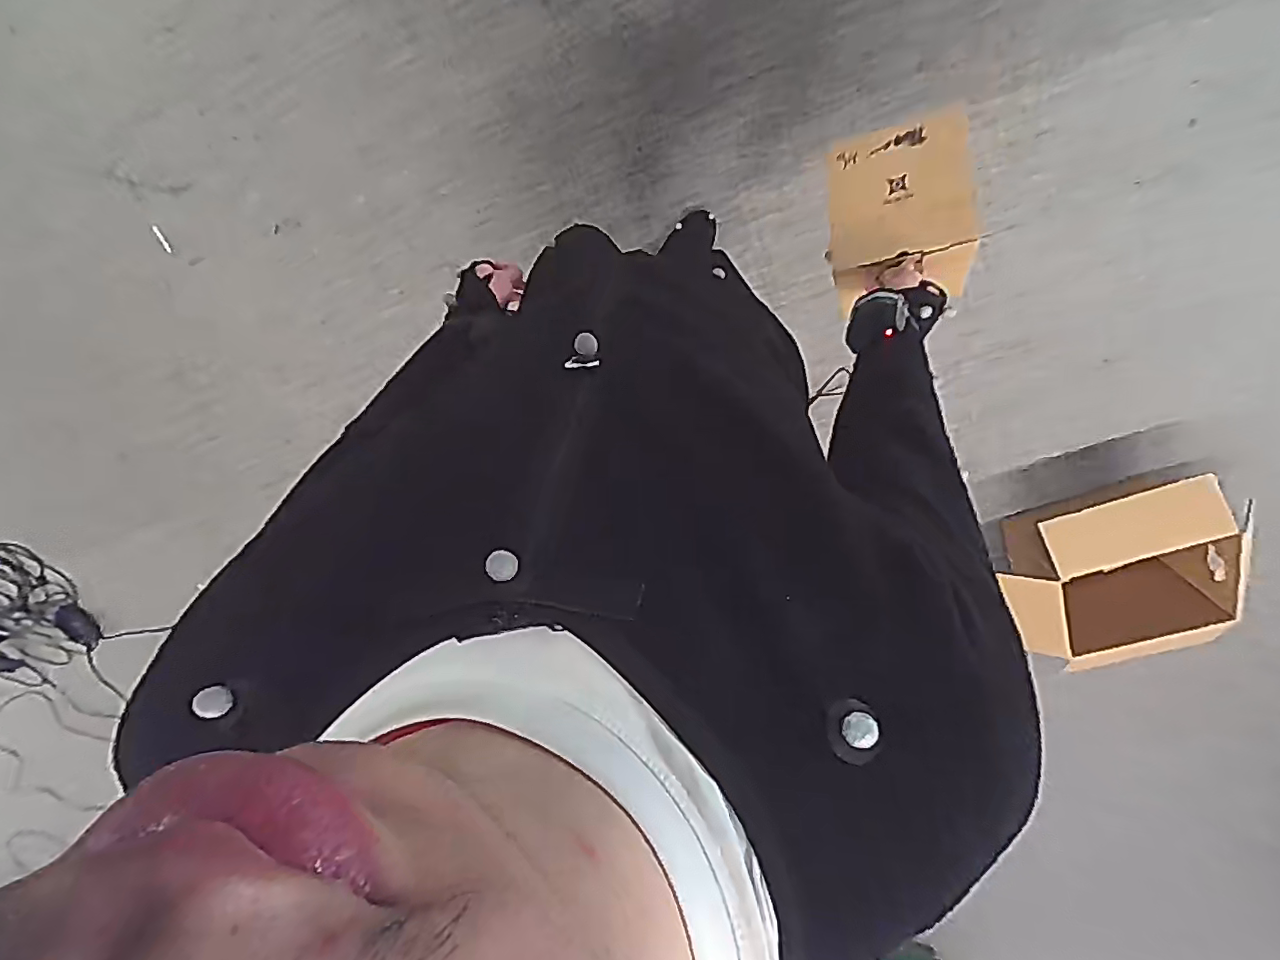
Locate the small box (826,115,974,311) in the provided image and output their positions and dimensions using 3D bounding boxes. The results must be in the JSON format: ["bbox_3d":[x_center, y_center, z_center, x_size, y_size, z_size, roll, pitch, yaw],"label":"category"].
[{"bbox_3d":[0.358,-0.352,0.758,0.168,0.176,0.179,-4,83,23],"label":"small box"}]
